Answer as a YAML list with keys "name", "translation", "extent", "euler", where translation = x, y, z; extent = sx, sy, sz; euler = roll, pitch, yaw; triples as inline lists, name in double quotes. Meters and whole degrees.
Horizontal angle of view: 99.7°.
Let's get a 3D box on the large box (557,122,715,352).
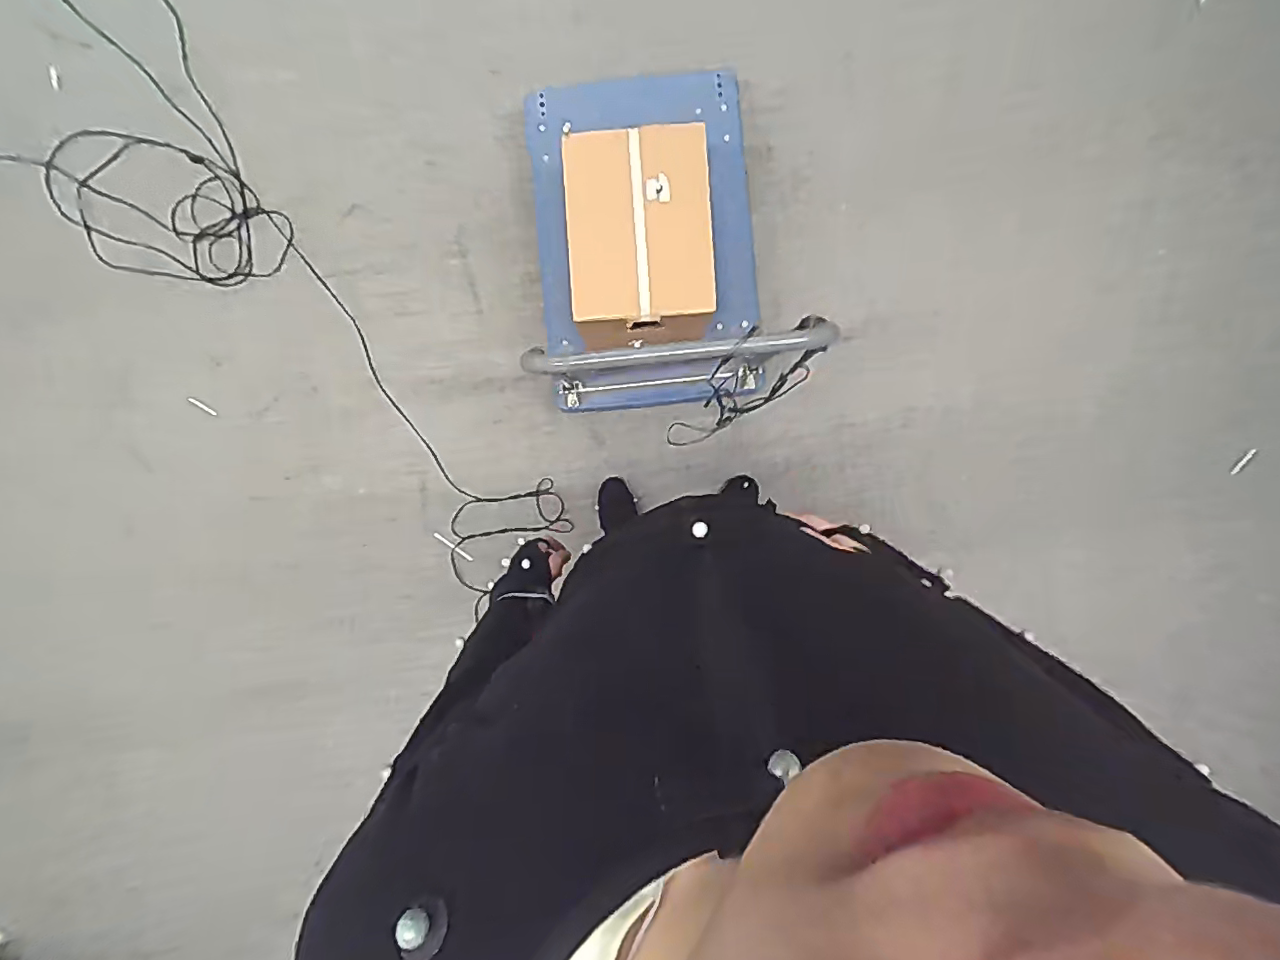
- name: "large box"
  translation: [-0.006, -0.549, 1.296]
  extent: [0.320, 0.320, 0.408]
  euler: [-4, 91, 0]
